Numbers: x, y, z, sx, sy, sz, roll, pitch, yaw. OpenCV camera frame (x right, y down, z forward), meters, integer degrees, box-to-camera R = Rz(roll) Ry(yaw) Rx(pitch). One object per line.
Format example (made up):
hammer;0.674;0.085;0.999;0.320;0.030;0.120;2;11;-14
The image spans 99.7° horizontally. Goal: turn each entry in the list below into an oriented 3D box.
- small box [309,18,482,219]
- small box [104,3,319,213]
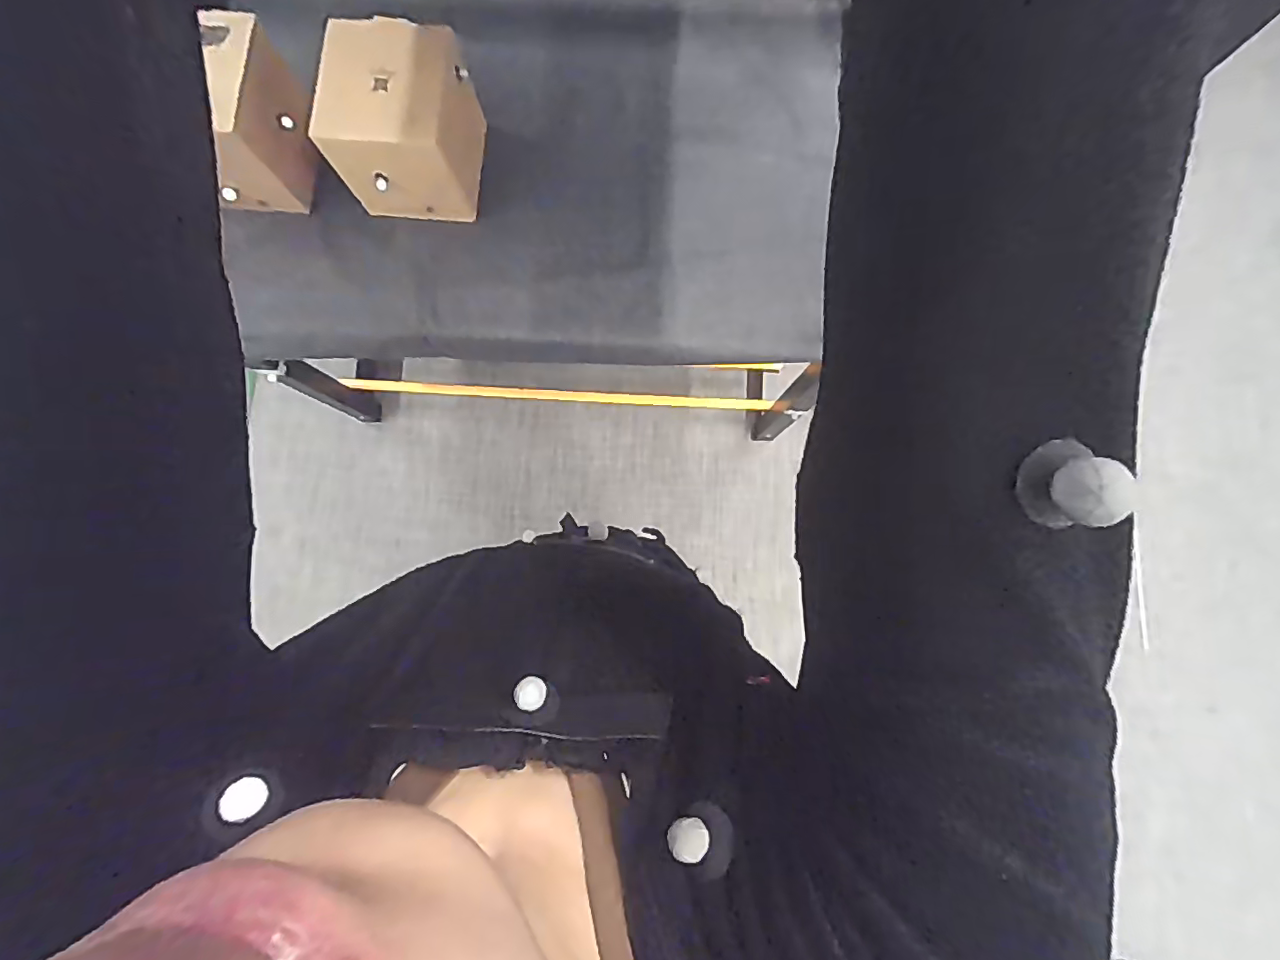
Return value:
small box;-0.335;-0.504;0.776;0.168;0.176;0.179;3;82;-1
small box;-0.588;-0.517;0.771;0.168;0.176;0.179;4;83;0
